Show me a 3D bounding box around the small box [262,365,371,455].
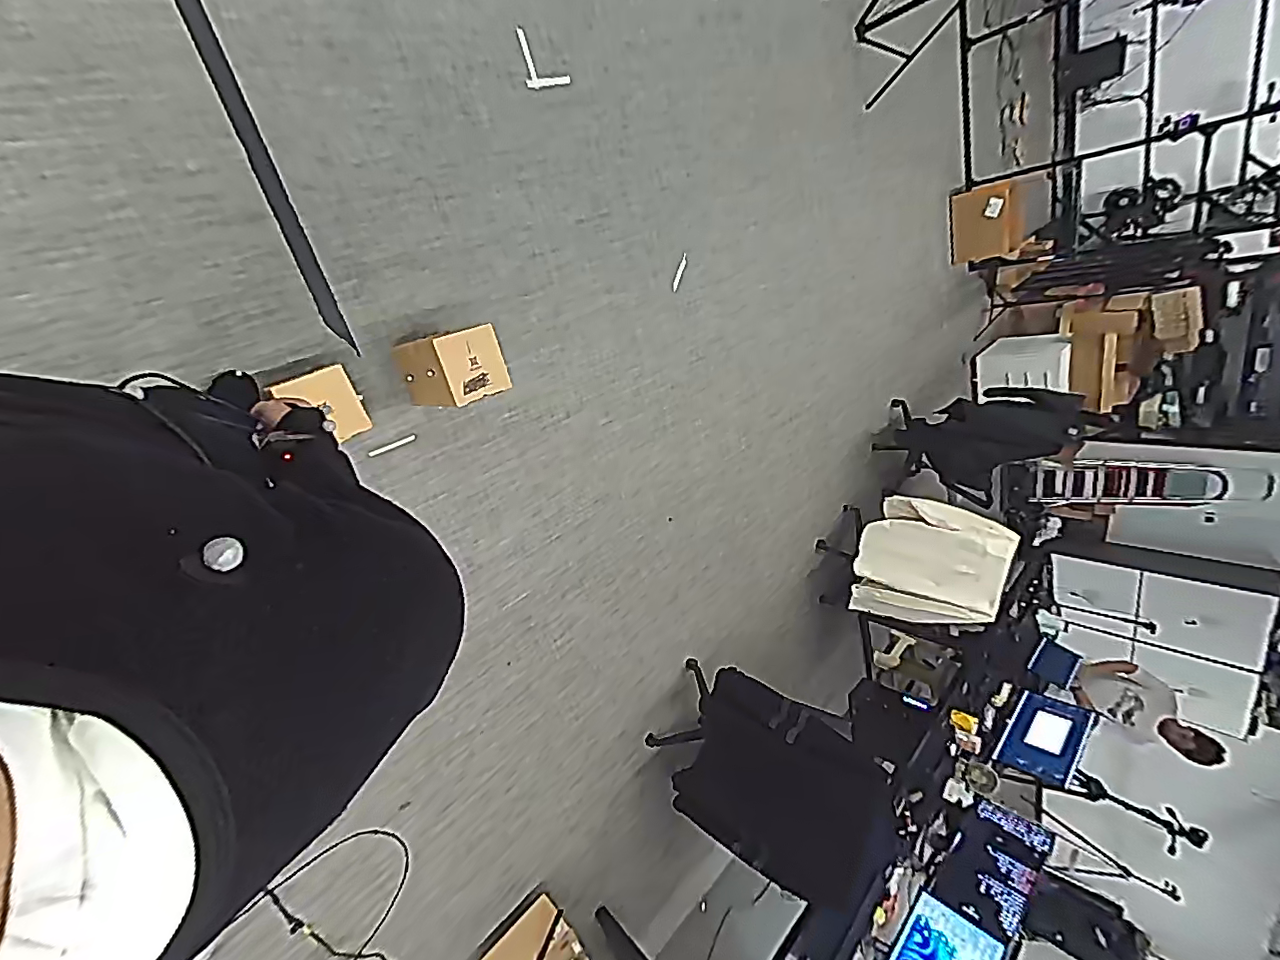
[{"bbox_3d":[-0.823,-0.178,1.372,0.168,0.176,0.179,-34,118,-32],"label":"small box"}]

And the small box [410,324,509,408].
[{"bbox_3d":[-0.477,-0.299,1.429,0.168,0.176,0.179,-30,115,-34],"label":"small box"}]
